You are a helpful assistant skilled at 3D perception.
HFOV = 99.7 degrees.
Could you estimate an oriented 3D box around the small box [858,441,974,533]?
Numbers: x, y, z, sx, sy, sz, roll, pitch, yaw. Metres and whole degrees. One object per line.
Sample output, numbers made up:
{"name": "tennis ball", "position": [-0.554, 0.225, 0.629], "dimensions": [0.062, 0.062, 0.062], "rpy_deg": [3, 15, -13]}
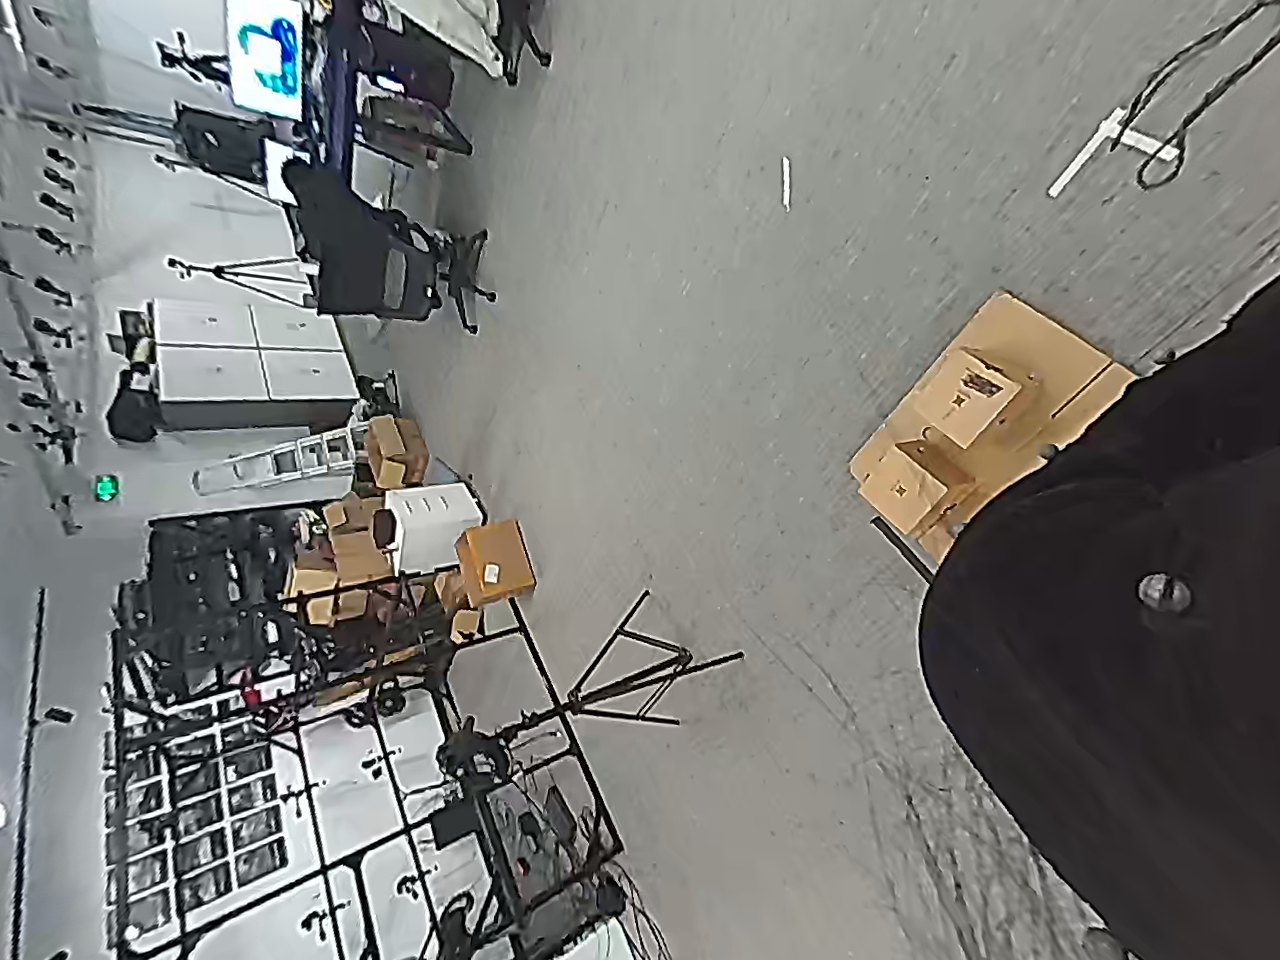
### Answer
{"name": "small box", "position": [0.720, 0.011, 1.414], "dimensions": [0.179, 0.176, 0.168], "rpy_deg": [51, 134, 33]}

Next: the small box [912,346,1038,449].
{"name": "small box", "position": [0.795, -0.197, 1.277], "dimensions": [0.168, 0.176, 0.179], "rpy_deg": [52, 133, 32]}
